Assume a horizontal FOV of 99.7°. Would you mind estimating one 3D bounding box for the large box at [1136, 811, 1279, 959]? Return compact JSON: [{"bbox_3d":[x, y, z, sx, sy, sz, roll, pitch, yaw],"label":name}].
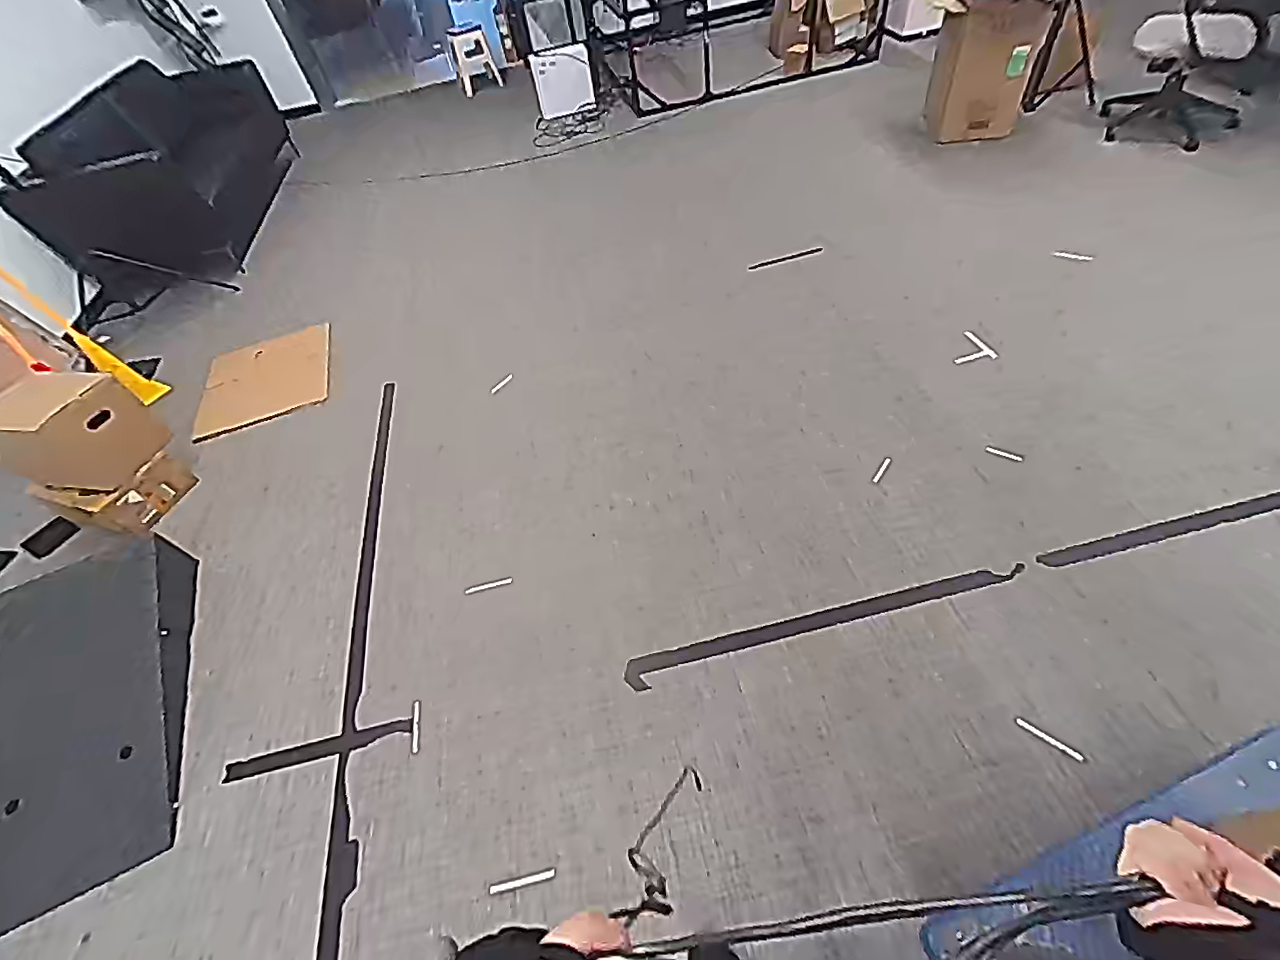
[{"bbox_3d":[1.034,0.729,0.721,0.320,0.320,0.408,-35,55,-17],"label":"large box"}]
